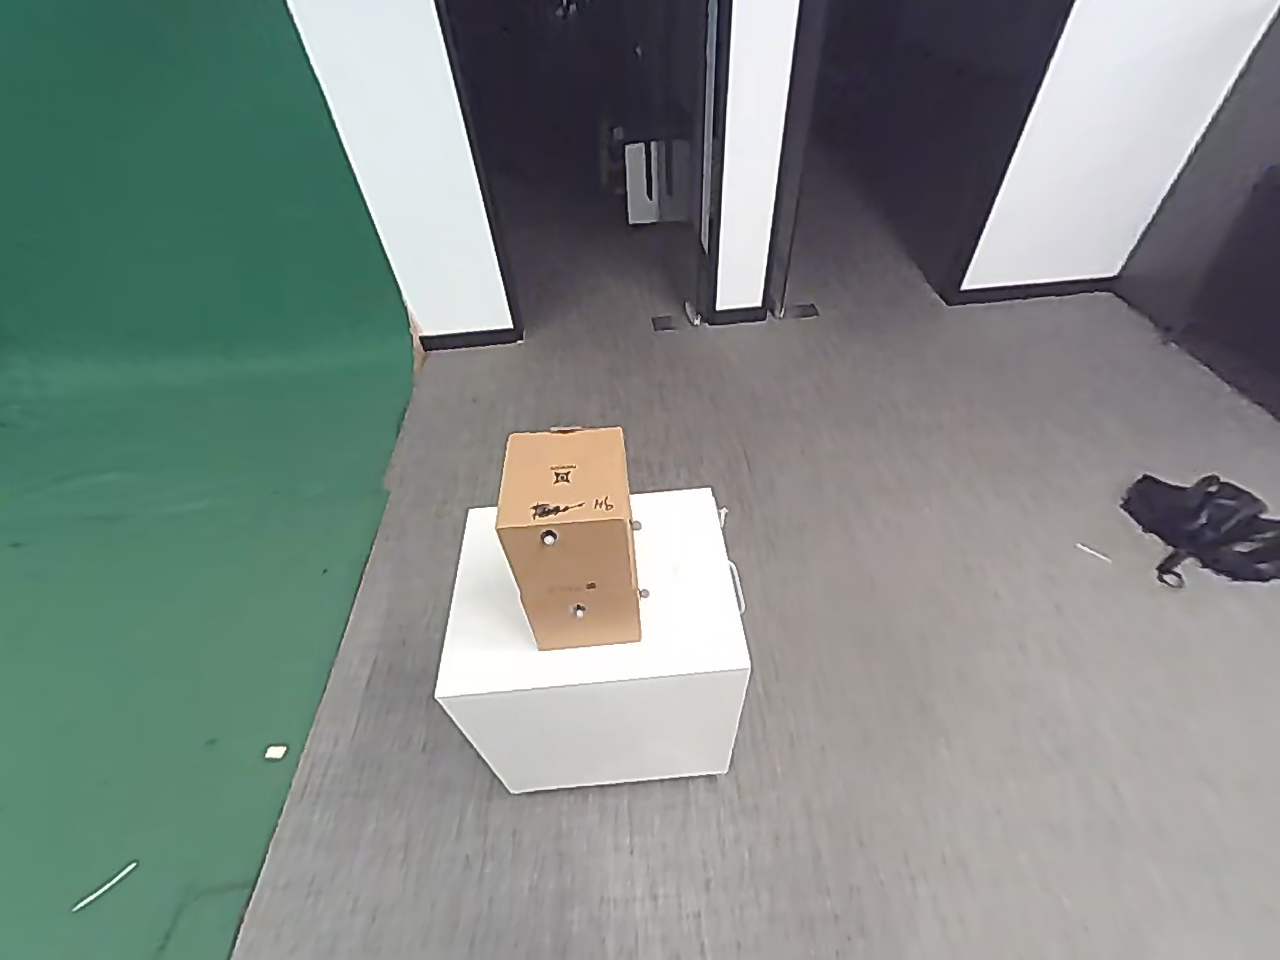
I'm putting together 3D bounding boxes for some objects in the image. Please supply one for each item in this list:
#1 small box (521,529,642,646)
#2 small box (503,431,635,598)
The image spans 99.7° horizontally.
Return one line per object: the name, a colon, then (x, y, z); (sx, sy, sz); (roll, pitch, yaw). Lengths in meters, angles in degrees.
small box: (-0.092, 0.164, 0.908); (0.179, 0.176, 0.168); (-4, 47, -2)
small box: (-0.097, 0.050, 0.795); (0.168, 0.176, 0.179); (-5, 47, -3)
